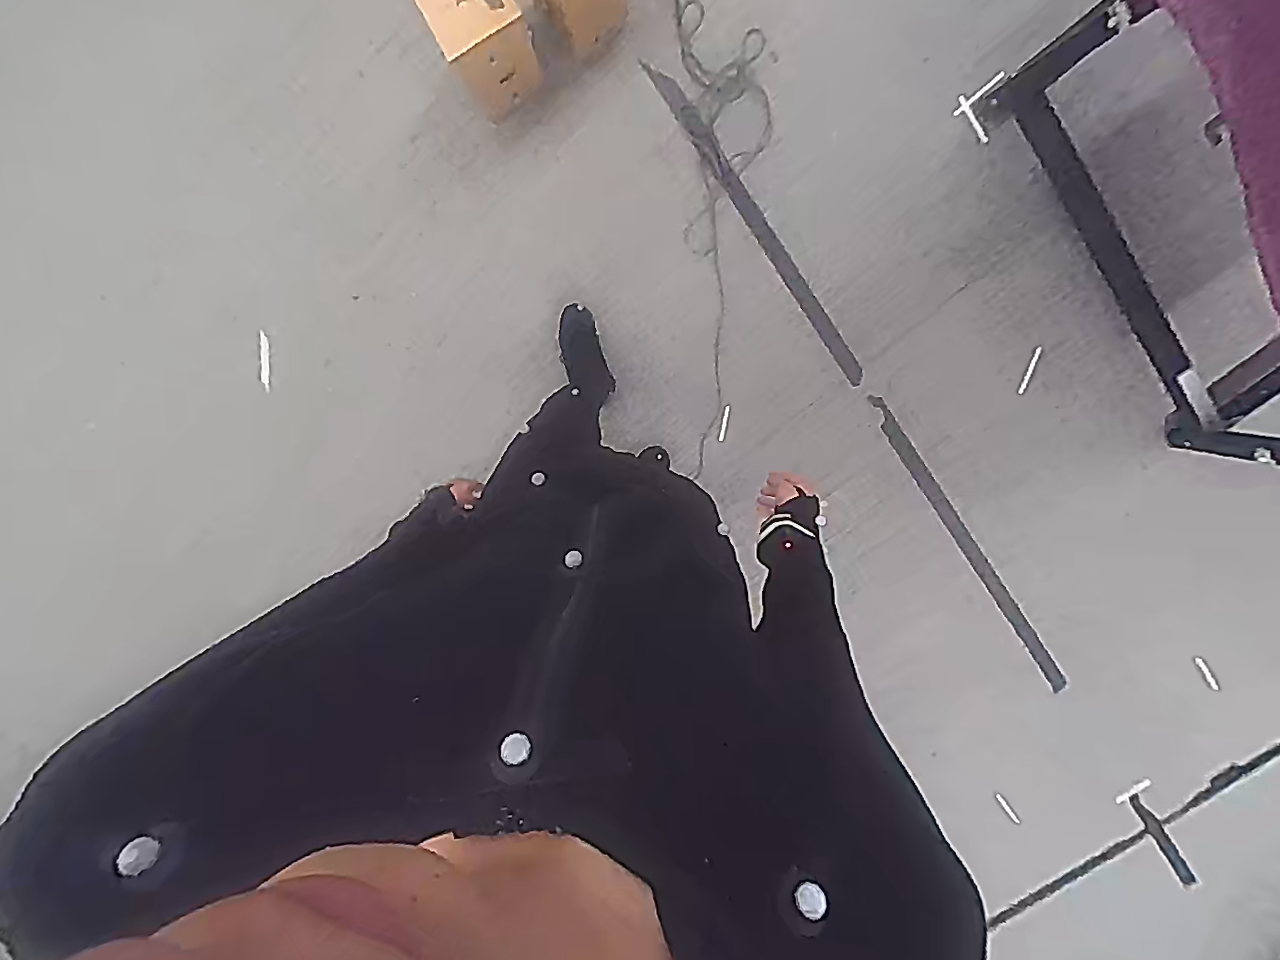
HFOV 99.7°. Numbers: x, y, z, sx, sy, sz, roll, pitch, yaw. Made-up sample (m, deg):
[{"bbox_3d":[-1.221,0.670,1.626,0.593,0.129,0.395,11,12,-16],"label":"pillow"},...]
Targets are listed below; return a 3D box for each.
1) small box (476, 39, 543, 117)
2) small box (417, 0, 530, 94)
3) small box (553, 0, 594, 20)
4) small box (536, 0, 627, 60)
[{"bbox_3d":[-0.352,-1.019,1.286,0.168,0.176,0.179,-32,103,7],"label":"small box"},{"bbox_3d":[-0.345,-0.965,1.131,0.179,0.176,0.168,-28,102,6],"label":"small box"},{"bbox_3d":[-0.139,-1.110,1.106,0.179,0.176,0.168,-35,102,7],"label":"small box"},{"bbox_3d":[-0.144,-1.148,1.263,0.168,0.176,0.179,-37,102,7],"label":"small box"}]
